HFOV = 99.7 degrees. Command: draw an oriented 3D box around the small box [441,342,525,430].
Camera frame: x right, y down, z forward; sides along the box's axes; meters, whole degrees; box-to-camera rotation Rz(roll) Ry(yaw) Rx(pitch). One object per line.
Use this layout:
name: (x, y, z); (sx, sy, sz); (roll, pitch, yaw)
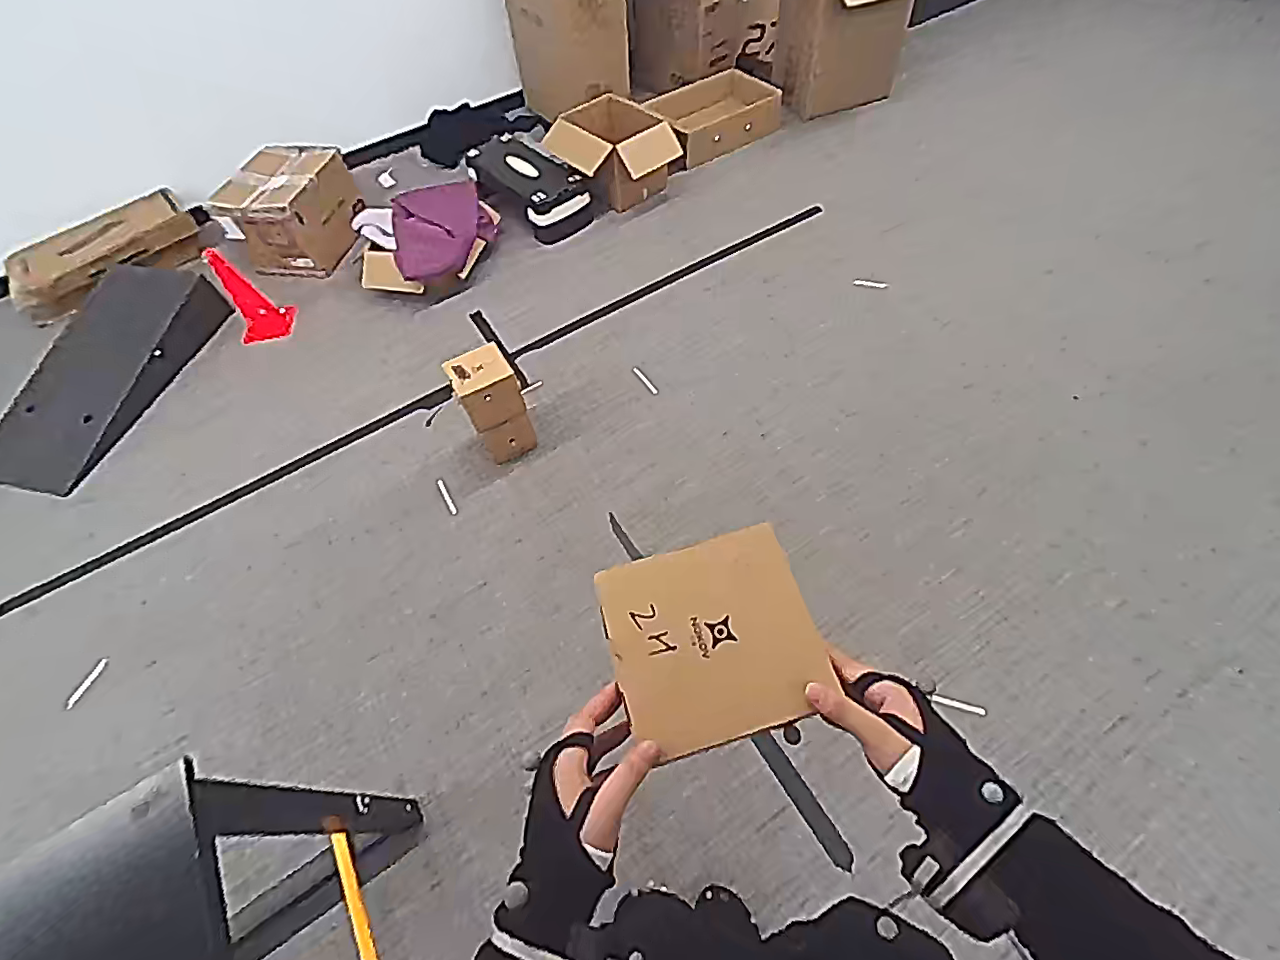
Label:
small box: (-0.479, -0.284, 1.667); (0.179, 0.176, 0.168); (-28, 59, -13)

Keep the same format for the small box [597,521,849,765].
small box: (0.068, 0.163, 0.527); (0.179, 0.176, 0.168); (-16, 63, -4)

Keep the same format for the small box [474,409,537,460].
small box: (-0.464, -0.189, 1.802); (0.168, 0.176, 0.179); (-28, 60, -12)
